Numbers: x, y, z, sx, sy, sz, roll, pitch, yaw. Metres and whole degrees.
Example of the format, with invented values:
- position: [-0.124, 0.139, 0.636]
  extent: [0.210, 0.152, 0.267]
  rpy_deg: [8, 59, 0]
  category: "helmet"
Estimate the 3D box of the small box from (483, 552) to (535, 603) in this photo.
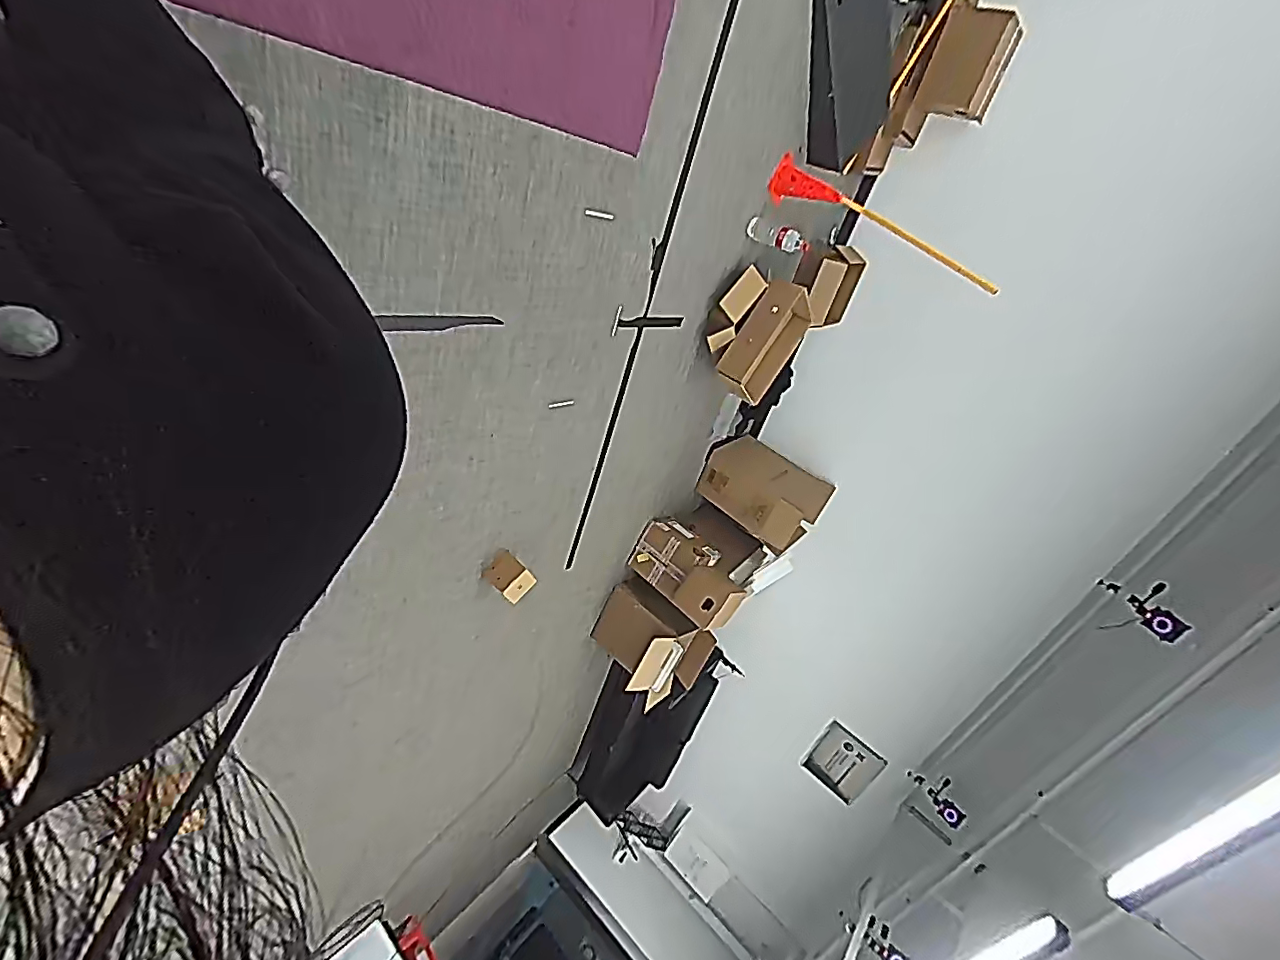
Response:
- position: [-0.666, 0.488, 2.738]
  extent: [0.168, 0.176, 0.179]
  rpy_deg: [-45, 154, -16]
  category: "small box"
